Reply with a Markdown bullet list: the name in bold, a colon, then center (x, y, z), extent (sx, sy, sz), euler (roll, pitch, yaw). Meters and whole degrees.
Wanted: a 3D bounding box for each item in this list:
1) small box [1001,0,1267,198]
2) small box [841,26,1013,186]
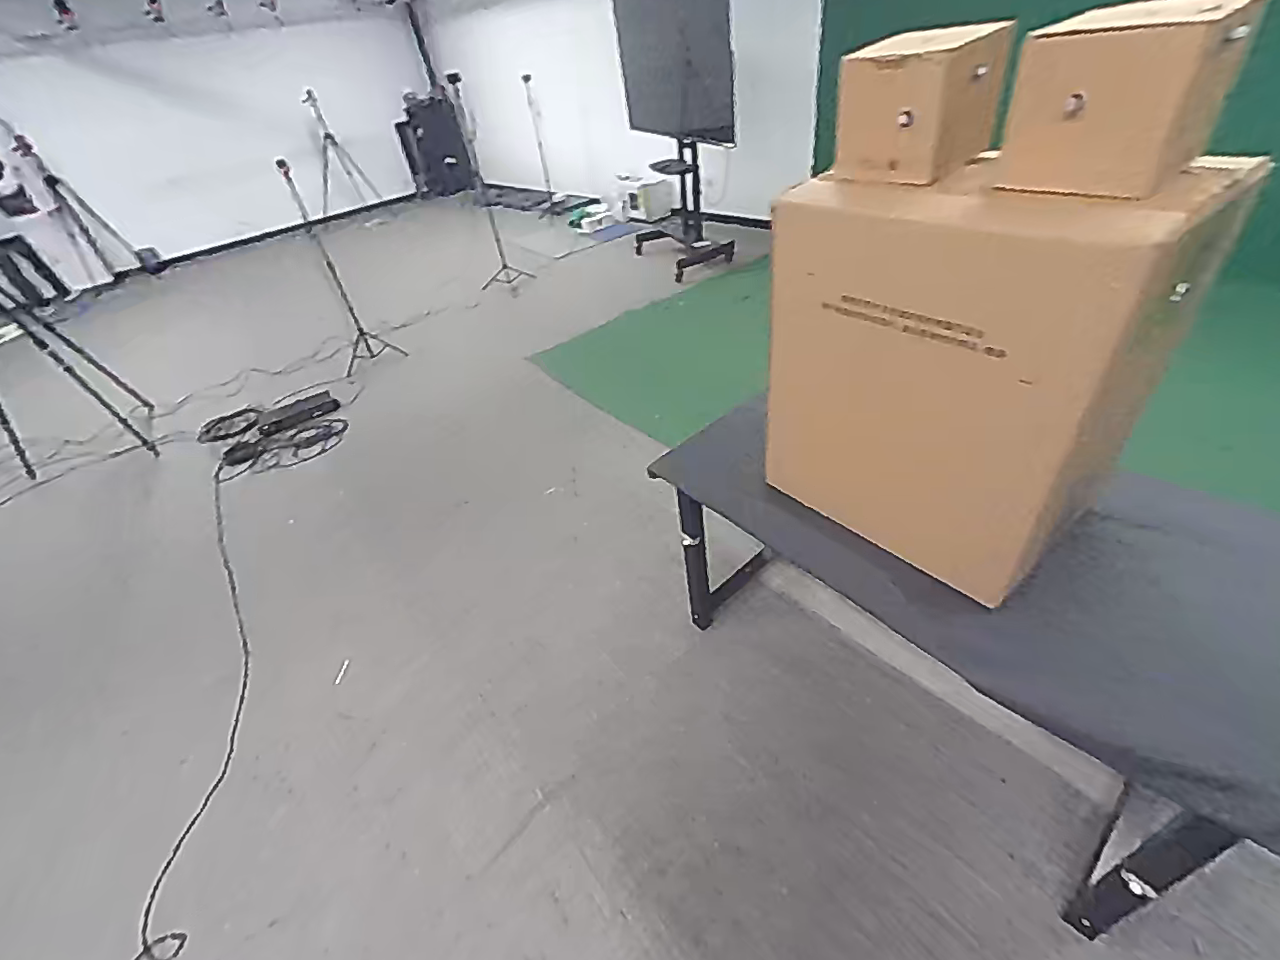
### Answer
- **small box**: center (0.590, -0.466, 0.671), extent (0.168, 0.176, 0.179), euler (-34, 43, -21)
- **small box**: center (0.433, -0.575, 0.842), extent (0.179, 0.176, 0.168), euler (-34, 46, -23)
